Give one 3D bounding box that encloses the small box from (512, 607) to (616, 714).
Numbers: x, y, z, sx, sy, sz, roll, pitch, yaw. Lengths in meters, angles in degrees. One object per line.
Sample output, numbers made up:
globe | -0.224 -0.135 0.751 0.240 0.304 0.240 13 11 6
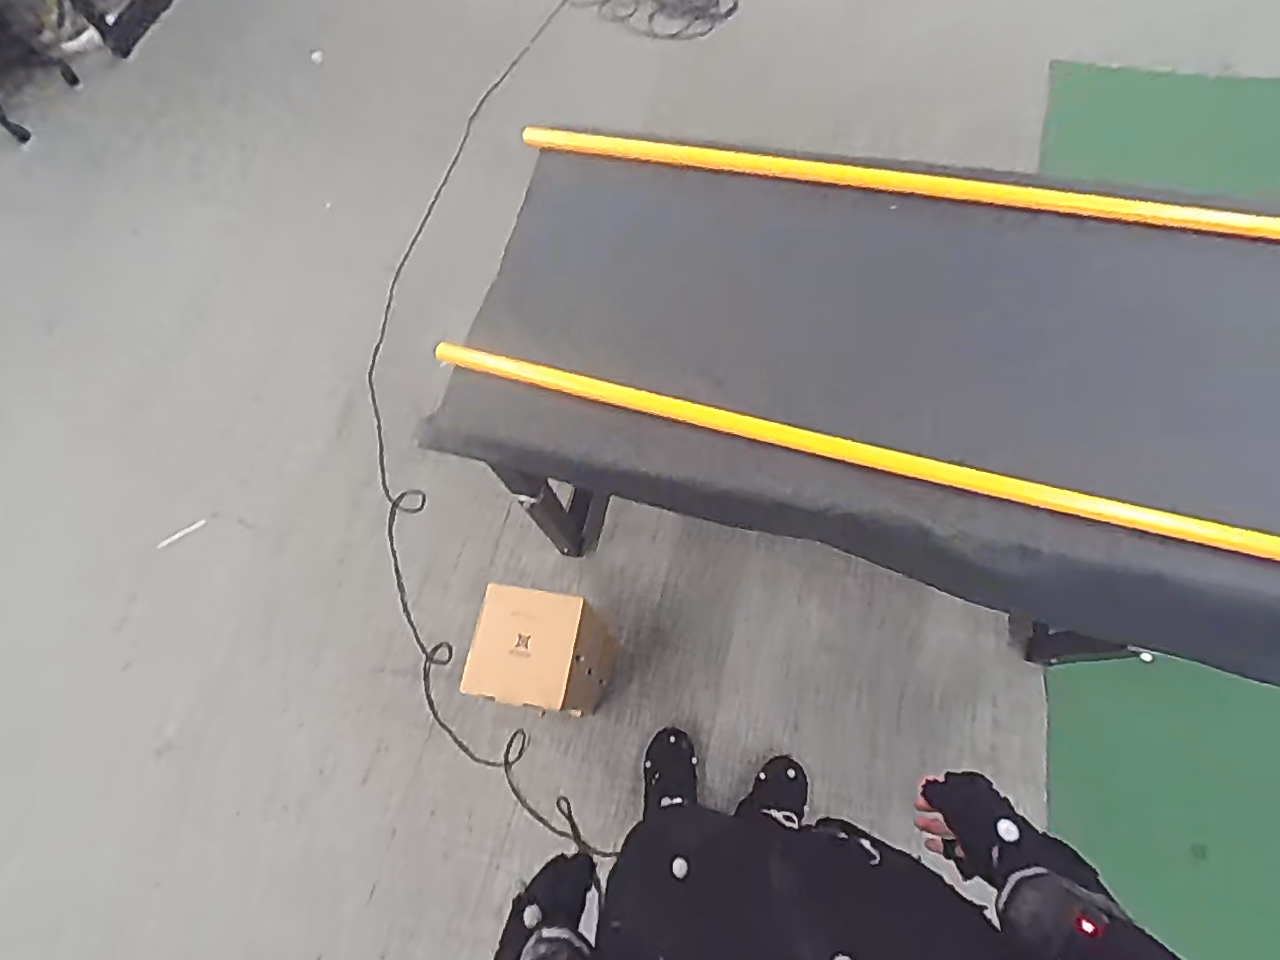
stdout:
small box | -0.161 0.411 1.230 0.168 0.176 0.179 20 72 12
